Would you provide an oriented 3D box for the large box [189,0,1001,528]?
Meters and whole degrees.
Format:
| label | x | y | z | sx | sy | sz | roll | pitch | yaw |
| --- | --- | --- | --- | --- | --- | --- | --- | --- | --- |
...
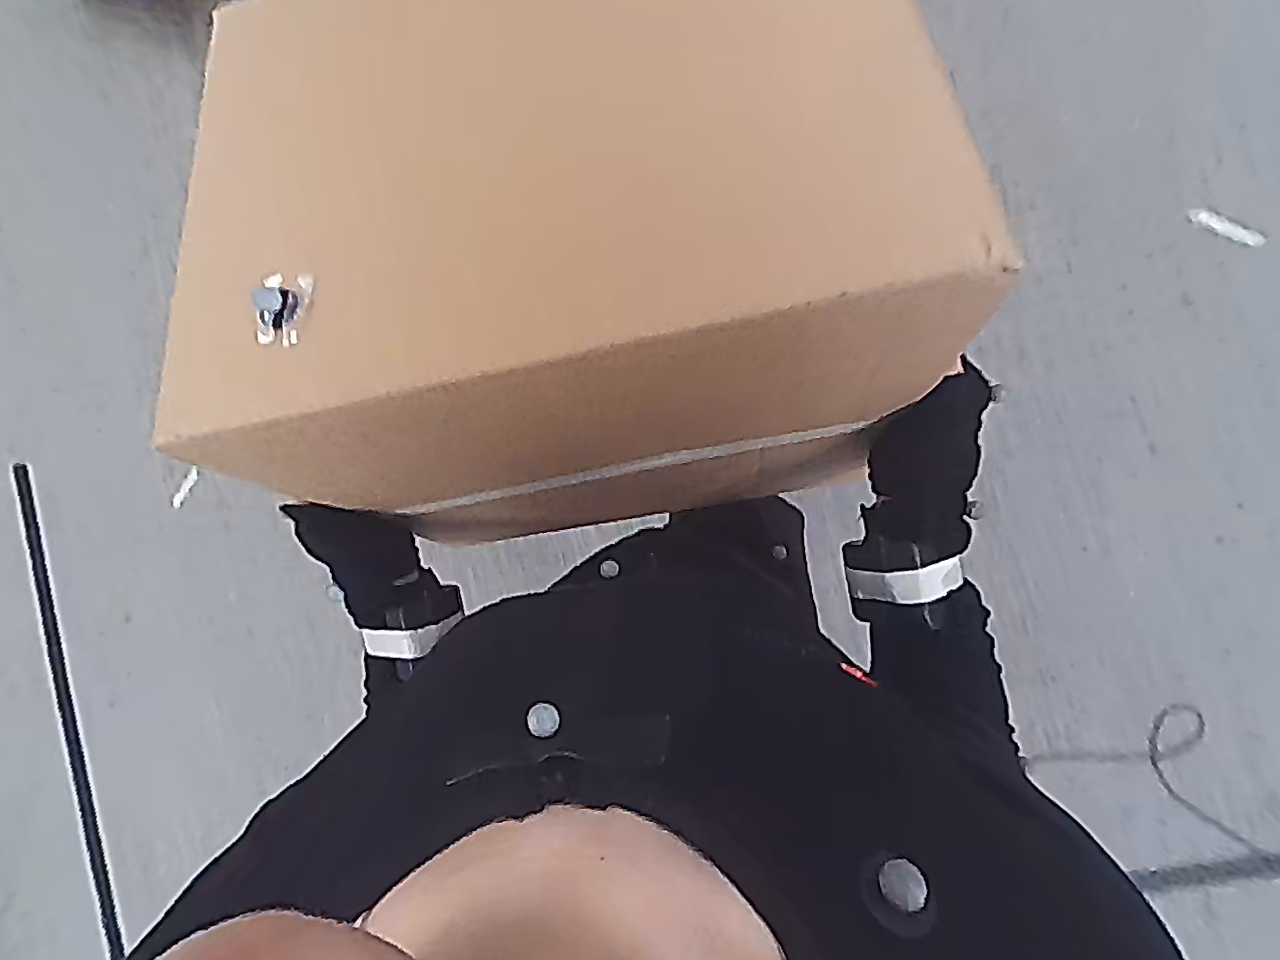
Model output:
| label | x | y | z | sx | sy | sz | roll | pitch | yaw |
| --- | --- | --- | --- | --- | --- | --- | --- | --- | --- |
| large box | -0.037 | -0.171 | 0.436 | 0.408 | 0.320 | 0.320 | -10 | 73 | 7 |
